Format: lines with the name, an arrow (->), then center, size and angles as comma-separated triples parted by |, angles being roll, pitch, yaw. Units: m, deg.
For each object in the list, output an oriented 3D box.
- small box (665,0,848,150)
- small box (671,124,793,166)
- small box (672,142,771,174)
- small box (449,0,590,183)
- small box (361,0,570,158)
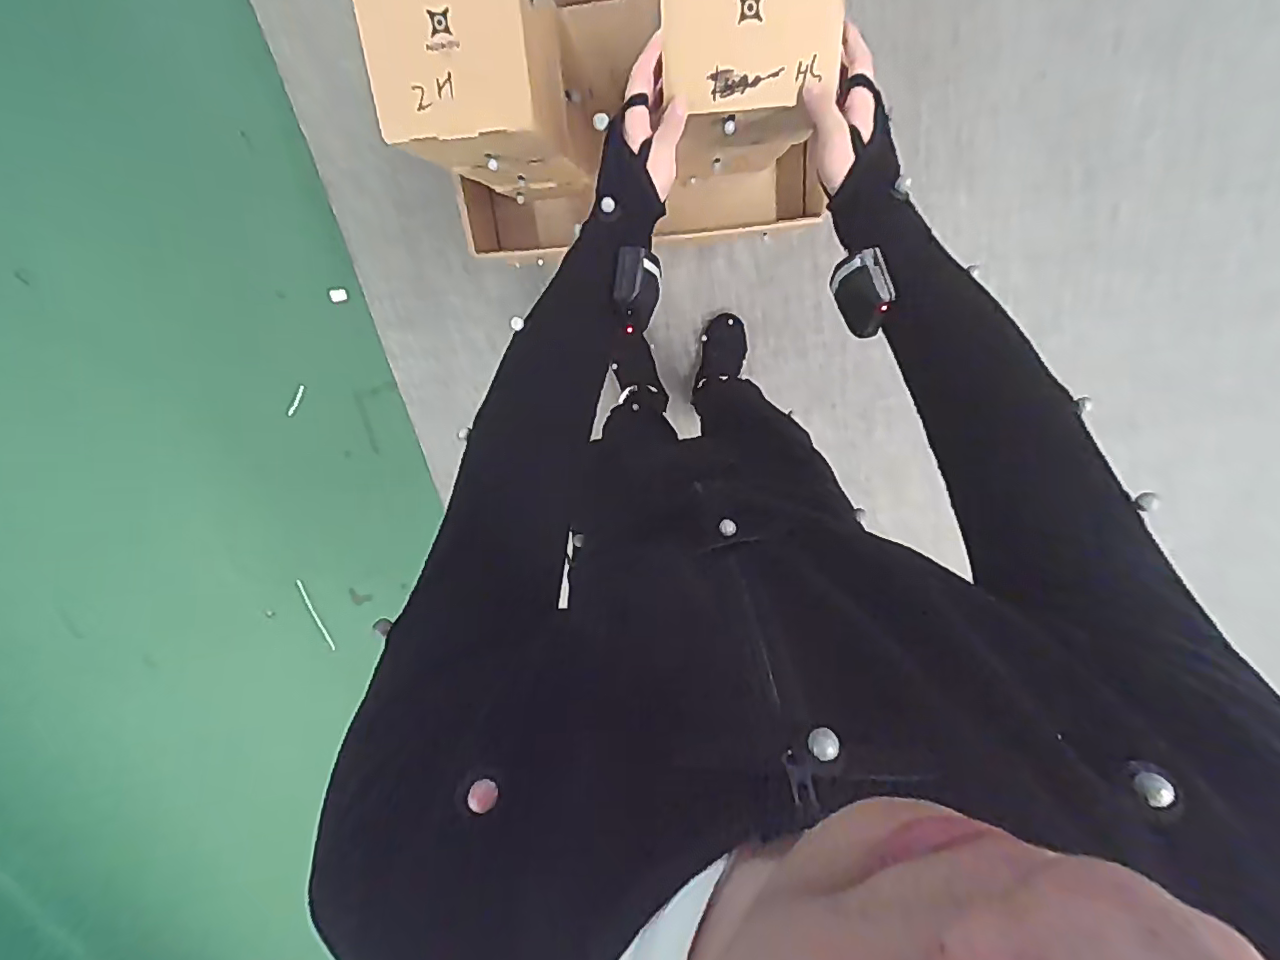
small box -> 0.110, -0.464, 0.557 | 0.168, 0.176, 0.179 | 0, 110, 6
small box -> 0.123, -0.539, 0.725 | 0.168, 0.176, 0.179 | -2, 113, 7
small box -> 0.135, -0.605, 0.873 | 0.168, 0.176, 0.179 | -2, 112, 6
small box -> -0.170, -0.530, 0.757 | 0.168, 0.176, 0.179 | -2, 112, 6
small box -> -0.182, -0.475, 0.604 | 0.168, 0.176, 0.179 | -2, 115, 7
